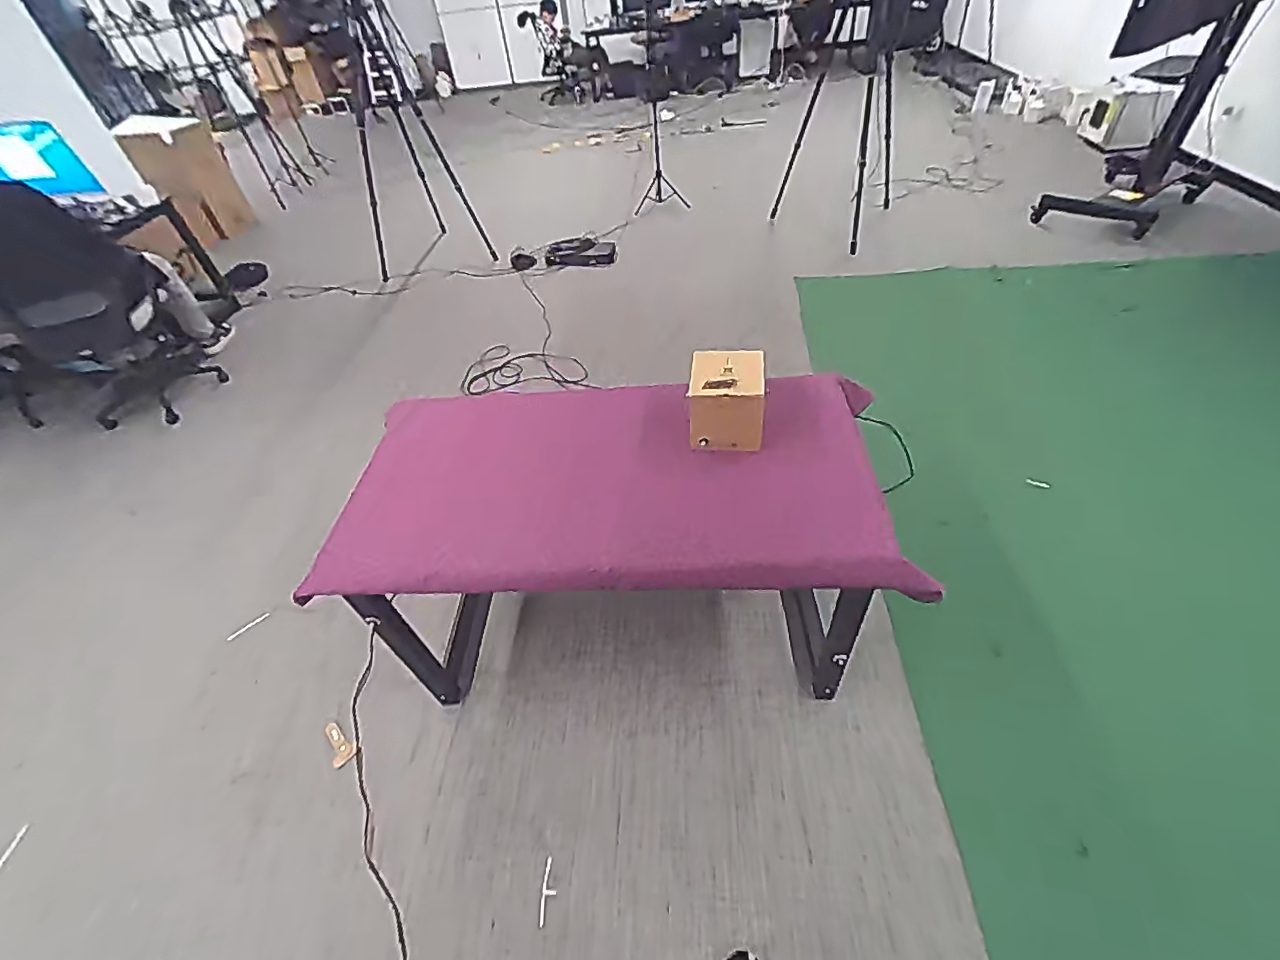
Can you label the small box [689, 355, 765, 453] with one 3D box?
[{"bbox_3d":[0.208,-0.178,1.281,0.168,0.176,0.179,2,46,10],"label":"small box"}]
